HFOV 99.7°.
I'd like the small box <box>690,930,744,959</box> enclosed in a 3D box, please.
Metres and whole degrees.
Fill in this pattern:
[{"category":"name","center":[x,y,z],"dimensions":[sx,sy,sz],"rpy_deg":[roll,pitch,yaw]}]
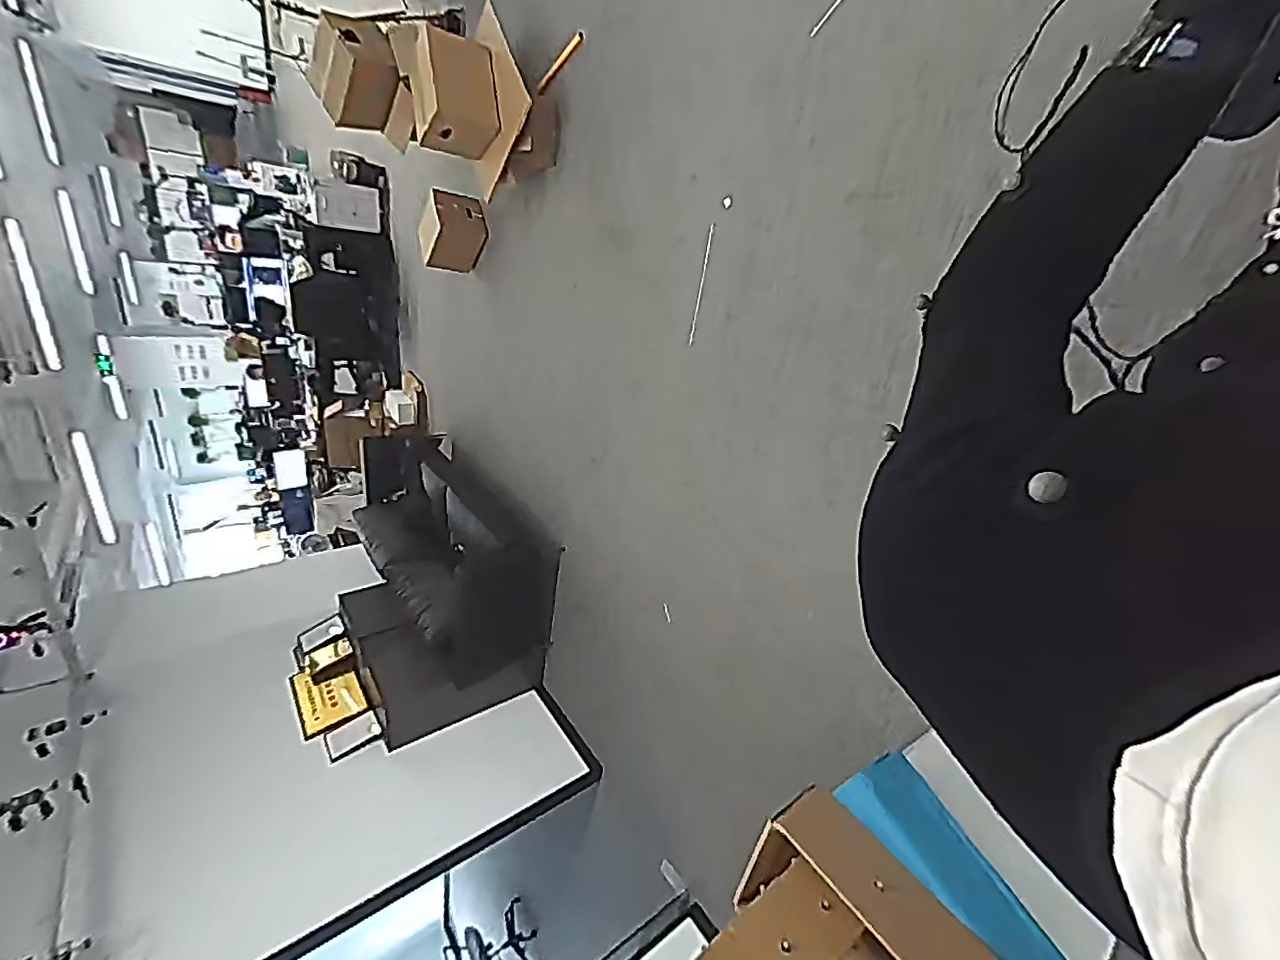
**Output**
[{"category":"small box","center":[0.147,1.050,1.055],"dimensions":[0.179,0.176,0.168],"rpy_deg":[37,127,42]}]

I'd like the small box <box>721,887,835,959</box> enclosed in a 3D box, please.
[{"category":"small box","center":[0.277,1.017,1.148],"dimensions":[0.179,0.176,0.168],"rpy_deg":[36,127,41]}]

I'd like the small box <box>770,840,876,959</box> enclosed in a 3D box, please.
[{"category":"small box","center":[0.406,0.987,1.244],"dimensions":[0.179,0.176,0.168],"rpy_deg":[38,128,41]}]
